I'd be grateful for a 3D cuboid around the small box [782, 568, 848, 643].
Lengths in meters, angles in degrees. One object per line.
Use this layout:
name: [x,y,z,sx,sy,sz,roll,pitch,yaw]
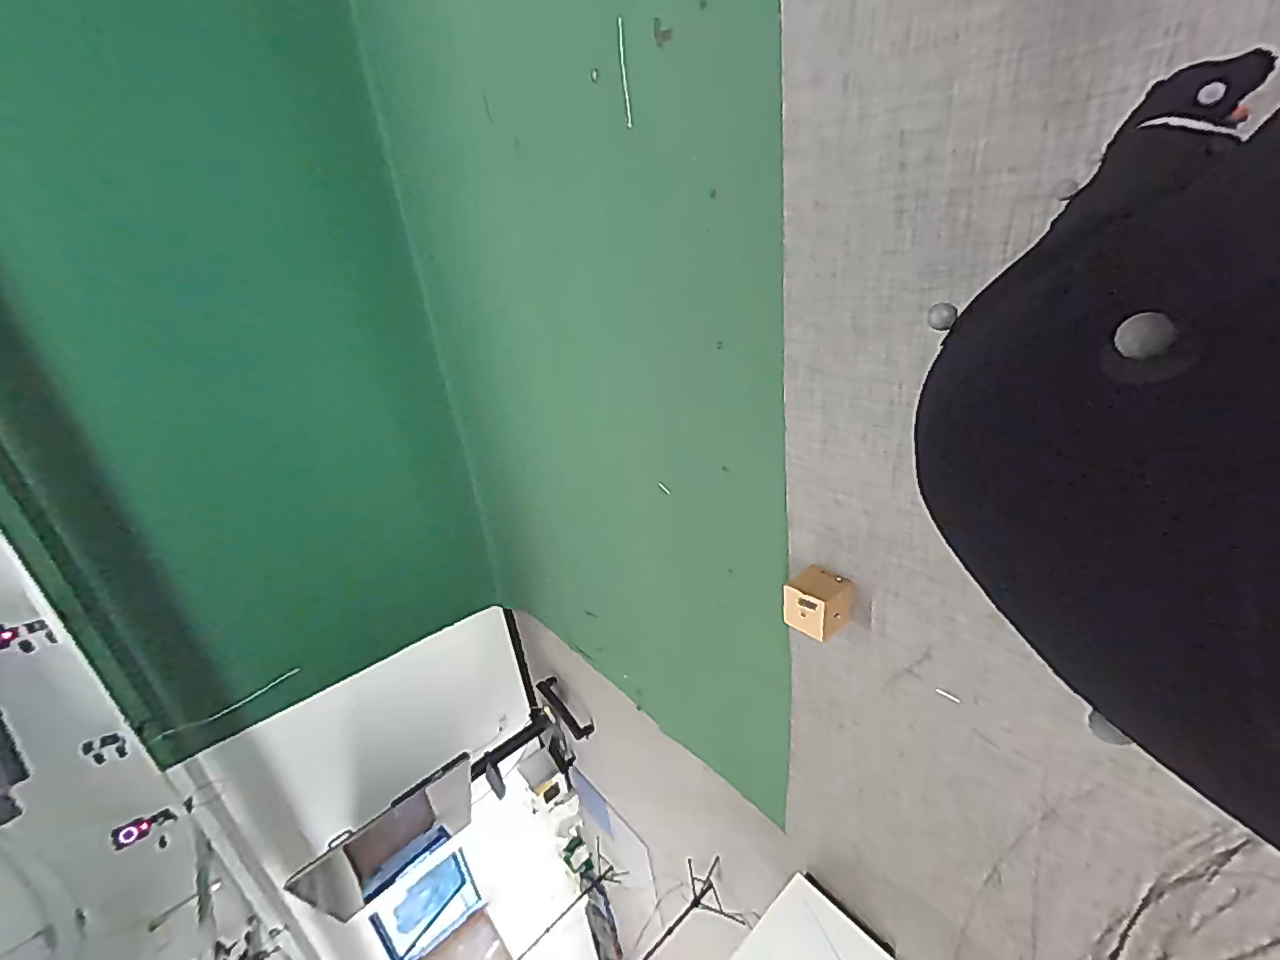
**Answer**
small box: [0.629,0.442,1.937,0.168,0.176,0.179,21,127,46]
